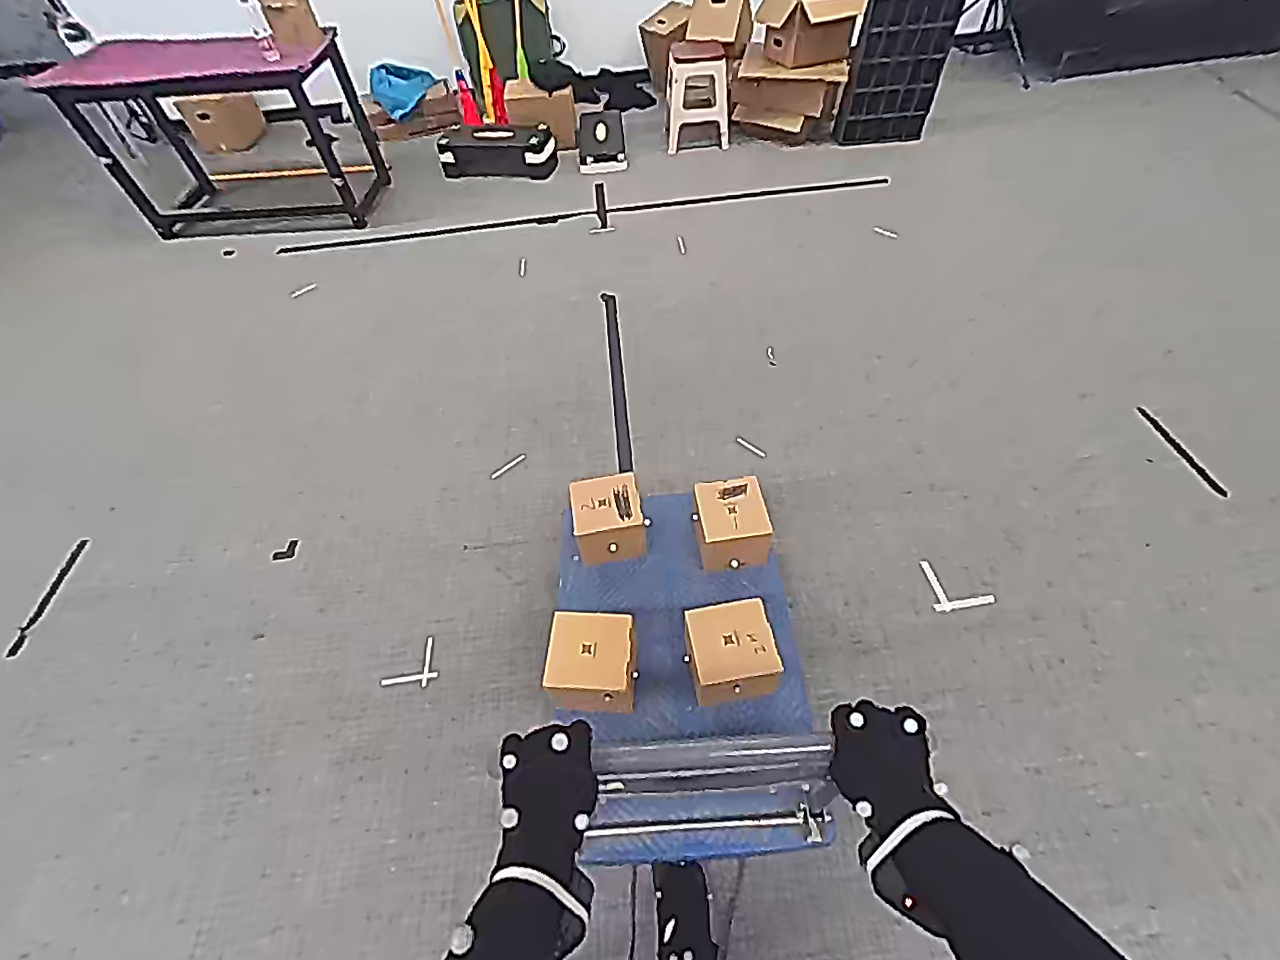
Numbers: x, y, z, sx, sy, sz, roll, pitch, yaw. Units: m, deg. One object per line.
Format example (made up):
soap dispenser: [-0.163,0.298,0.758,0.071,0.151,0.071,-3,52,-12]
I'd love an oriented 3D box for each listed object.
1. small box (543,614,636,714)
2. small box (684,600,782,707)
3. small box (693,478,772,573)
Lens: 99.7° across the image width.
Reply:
small box: [-0.105,0.414,1.207,0.179,0.176,0.168,1,52,4]
small box: [0.199,0.389,1.202,0.179,0.176,0.168,-10,53,-3]
small box: [0.231,0.120,1.402,0.168,0.176,0.179,-8,54,-1]
